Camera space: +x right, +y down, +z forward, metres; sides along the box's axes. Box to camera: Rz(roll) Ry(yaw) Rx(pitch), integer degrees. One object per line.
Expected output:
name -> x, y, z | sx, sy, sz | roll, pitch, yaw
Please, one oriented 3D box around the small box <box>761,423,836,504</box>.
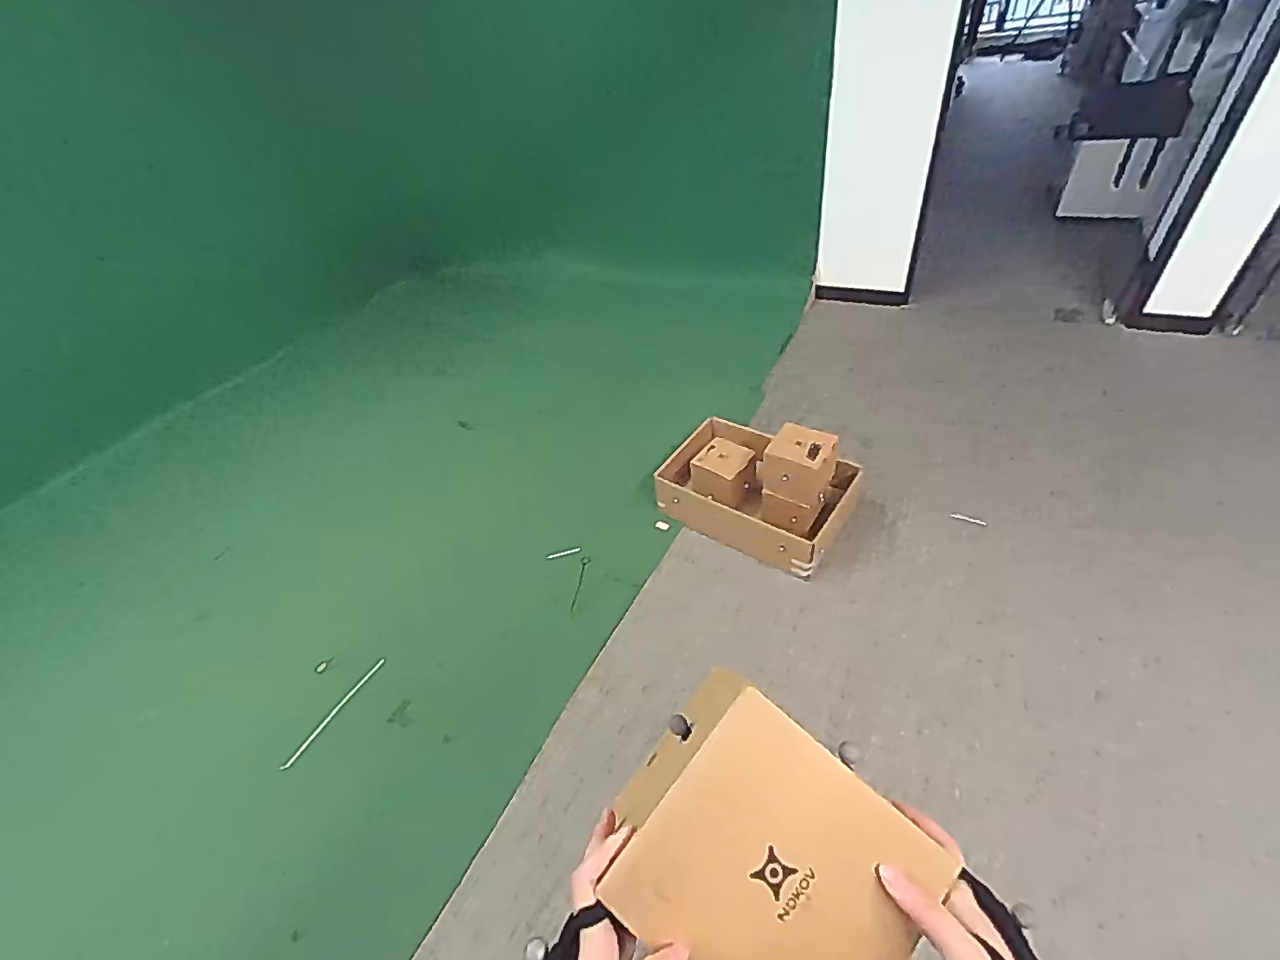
small box -> 0.499, -0.050, 1.712 | 0.179, 0.176, 0.168 | 22, 53, 31
